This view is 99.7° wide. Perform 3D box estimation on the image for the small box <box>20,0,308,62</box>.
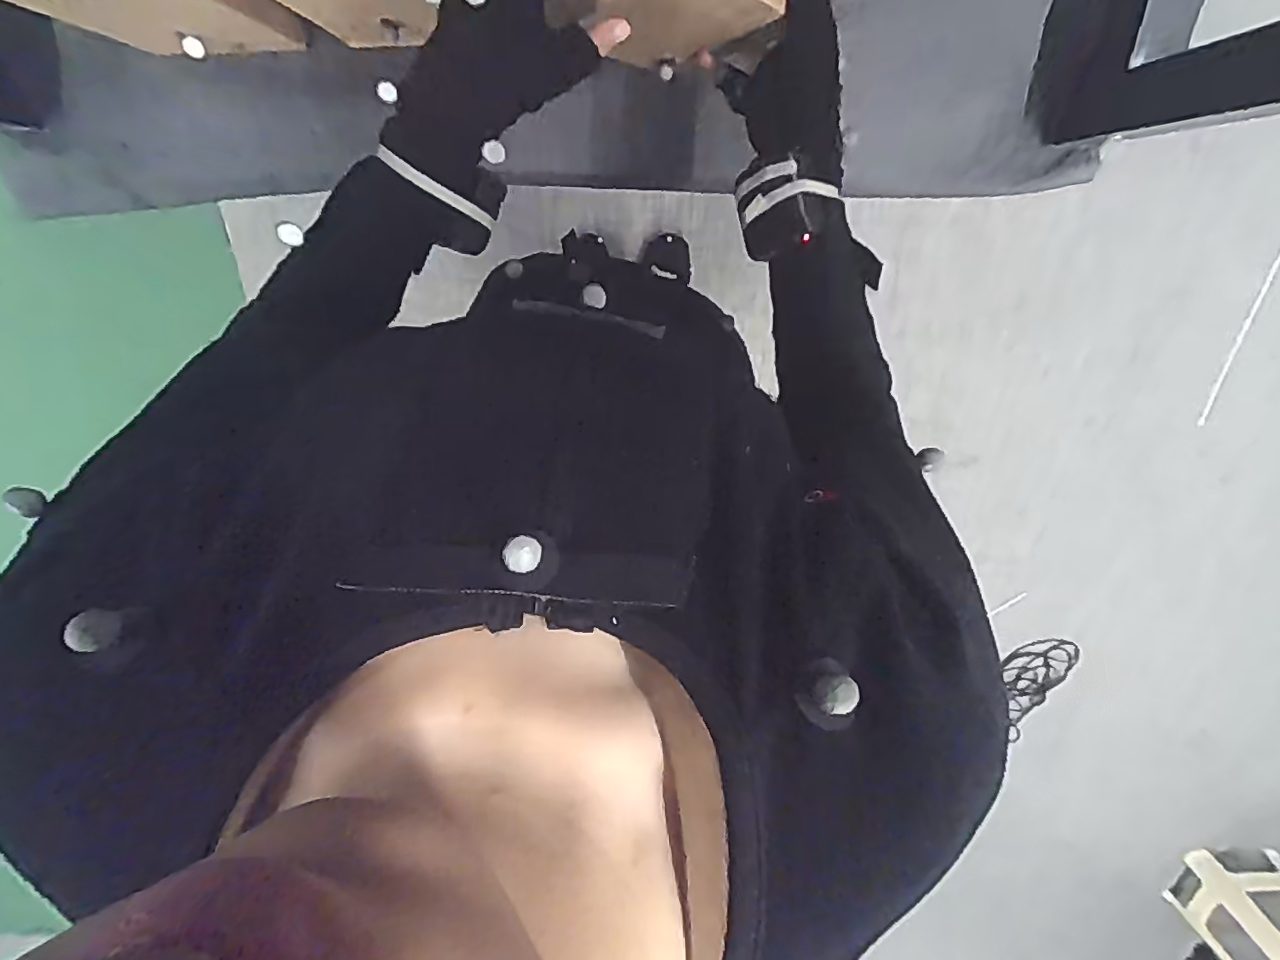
[{"bbox_3d":[-0.422,-0.485,0.456,0.168,0.176,0.179,0,114,1],"label":"small box"}]
